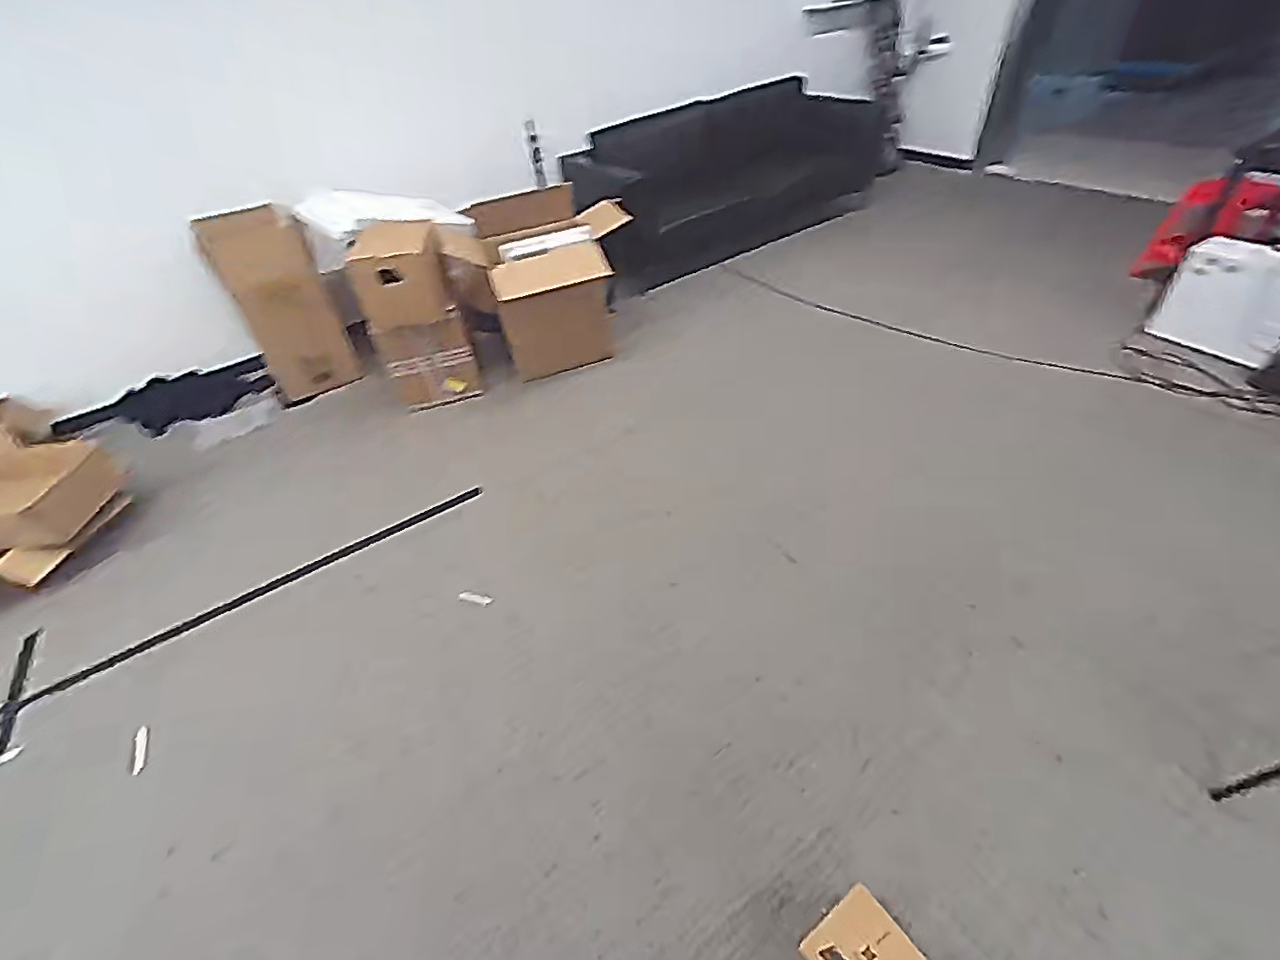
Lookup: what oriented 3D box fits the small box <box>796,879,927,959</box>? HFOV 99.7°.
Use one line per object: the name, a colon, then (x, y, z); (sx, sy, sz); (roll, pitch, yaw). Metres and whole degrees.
small box: (0.421, 0.932, 1.047); (0.179, 0.176, 0.168); (-28, 47, -22)
